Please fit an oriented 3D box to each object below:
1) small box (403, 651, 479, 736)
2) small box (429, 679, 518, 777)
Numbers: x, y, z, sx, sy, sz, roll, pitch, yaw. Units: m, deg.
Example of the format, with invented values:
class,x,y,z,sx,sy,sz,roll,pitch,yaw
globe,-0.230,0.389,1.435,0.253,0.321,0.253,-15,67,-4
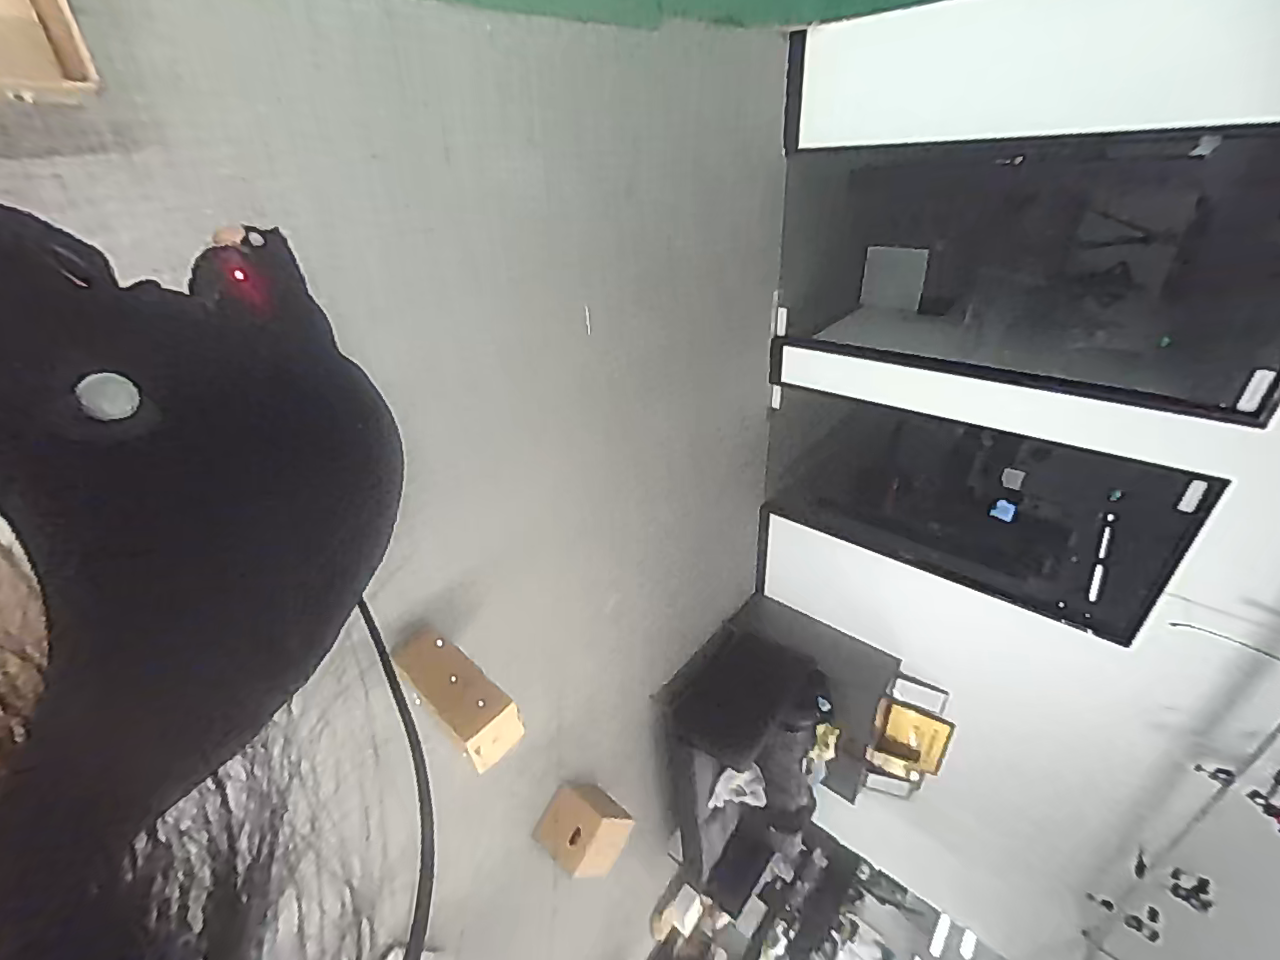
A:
class,x,y,z,sx,sy,sz,roll,pitch,yaw
small box,-0.627,0.688,1.741,0.179,0.176,0.168,-35,132,-37
small box,-0.505,0.747,1.647,0.179,0.176,0.168,-36,133,-38
